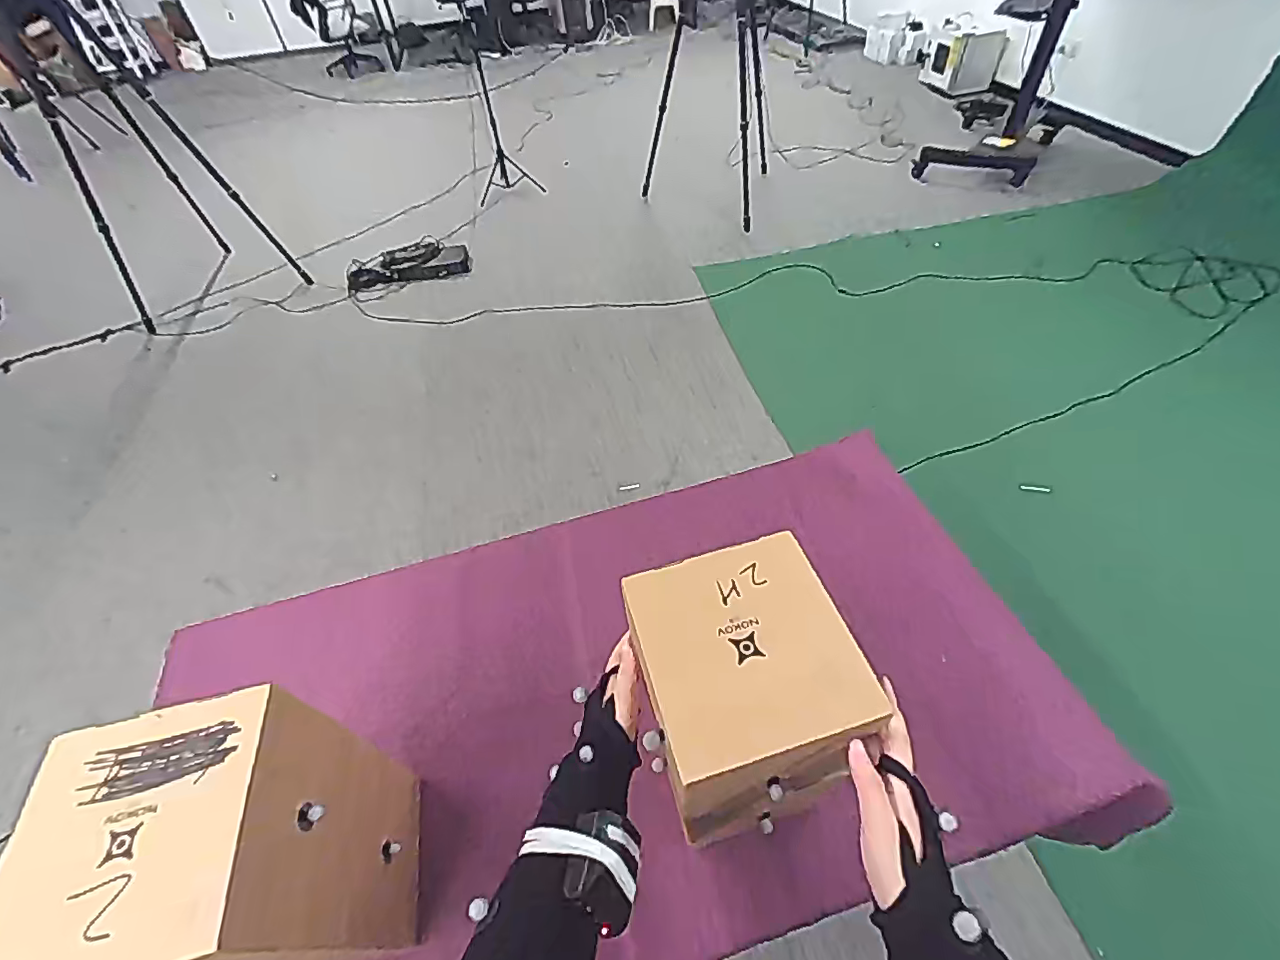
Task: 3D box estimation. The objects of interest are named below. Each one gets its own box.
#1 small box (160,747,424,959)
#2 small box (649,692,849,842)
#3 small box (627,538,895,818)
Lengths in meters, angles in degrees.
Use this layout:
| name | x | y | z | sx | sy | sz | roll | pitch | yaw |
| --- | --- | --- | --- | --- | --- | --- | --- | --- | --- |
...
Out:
| name | x | y | z | sx | sy | sz | roll | pitch | yaw |
| --- | --- | --- | --- | --- | --- | --- | --- | --- | --- |
| small box | -0.338 | 0.411 | 0.564 | 0.168 | 0.176 | 0.179 | -13 | 50 | -6 |
| small box | 0.110 | 0.294 | 0.623 | 0.168 | 0.176 | 0.179 | -14 | 50 | -7 |
| small box | 0.094 | 0.187 | 0.497 | 0.168 | 0.176 | 0.179 | -15 | 49 | -7 |
